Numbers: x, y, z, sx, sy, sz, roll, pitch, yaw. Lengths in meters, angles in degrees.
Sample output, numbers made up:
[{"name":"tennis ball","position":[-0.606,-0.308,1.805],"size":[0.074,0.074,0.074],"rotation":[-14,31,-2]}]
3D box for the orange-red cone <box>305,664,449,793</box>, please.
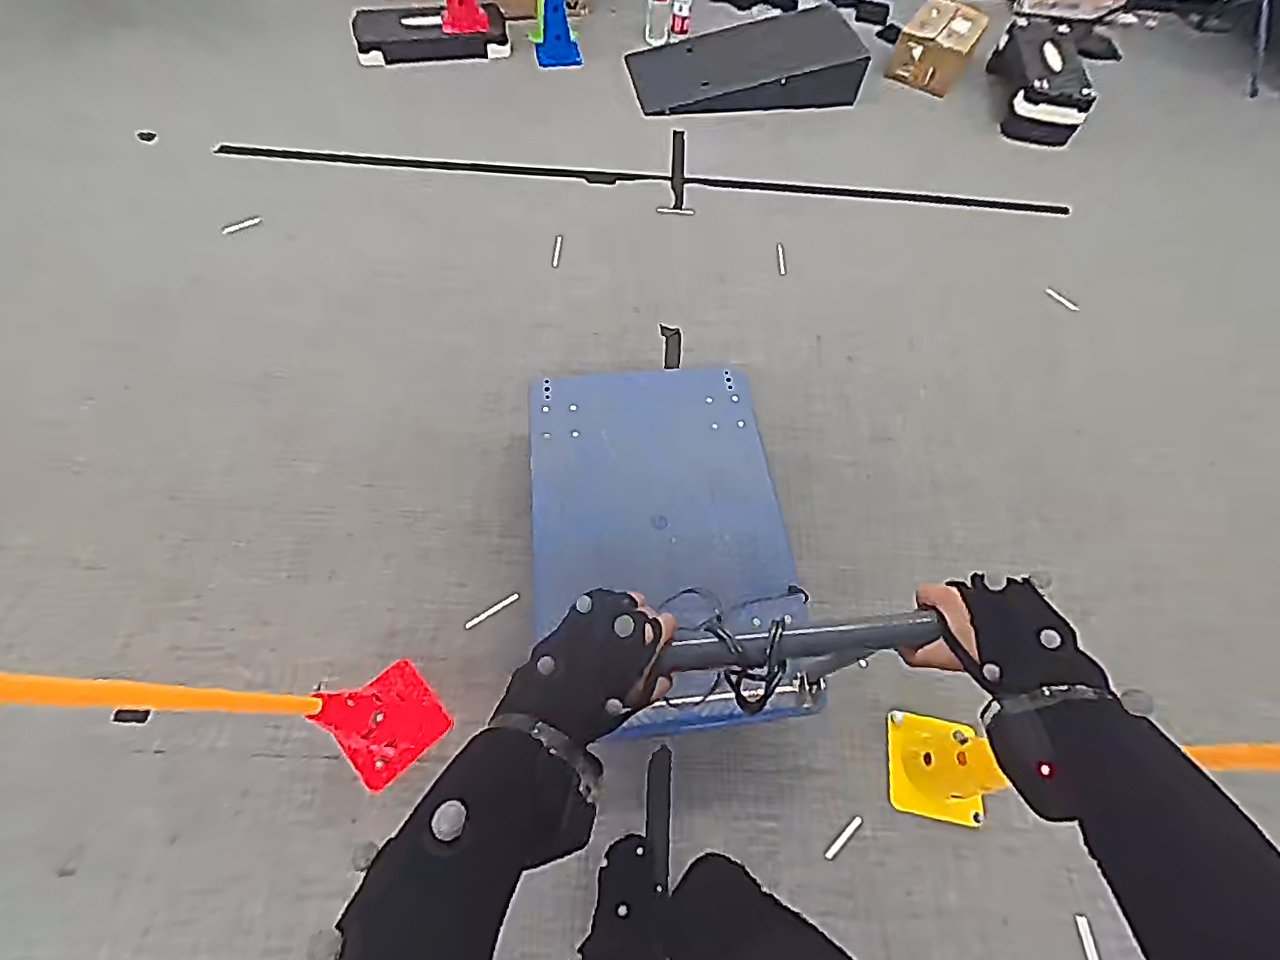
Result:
[{"name":"orange-red cone","position":[-0.522,0.442,1.005],"size":[0.199,0.360,0.198],"rotation":[-37,71,-22]}]
